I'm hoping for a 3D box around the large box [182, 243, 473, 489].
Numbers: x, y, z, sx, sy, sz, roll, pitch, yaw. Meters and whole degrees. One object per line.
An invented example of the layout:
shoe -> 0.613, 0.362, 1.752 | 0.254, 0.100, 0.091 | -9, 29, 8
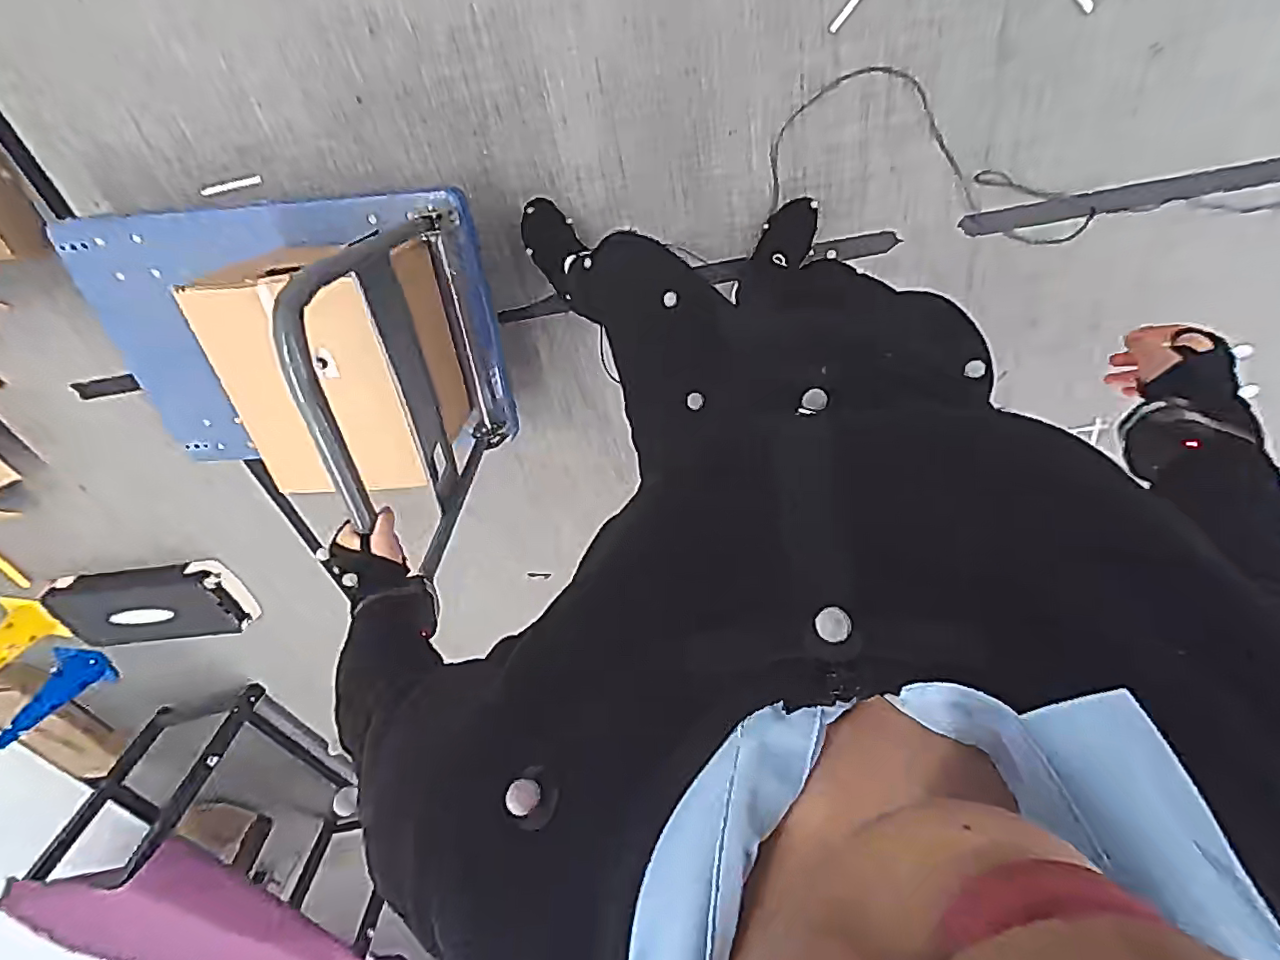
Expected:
large box -> -0.576, -0.234, 1.103 | 0.320, 0.320, 0.408 | -3, 123, 3
